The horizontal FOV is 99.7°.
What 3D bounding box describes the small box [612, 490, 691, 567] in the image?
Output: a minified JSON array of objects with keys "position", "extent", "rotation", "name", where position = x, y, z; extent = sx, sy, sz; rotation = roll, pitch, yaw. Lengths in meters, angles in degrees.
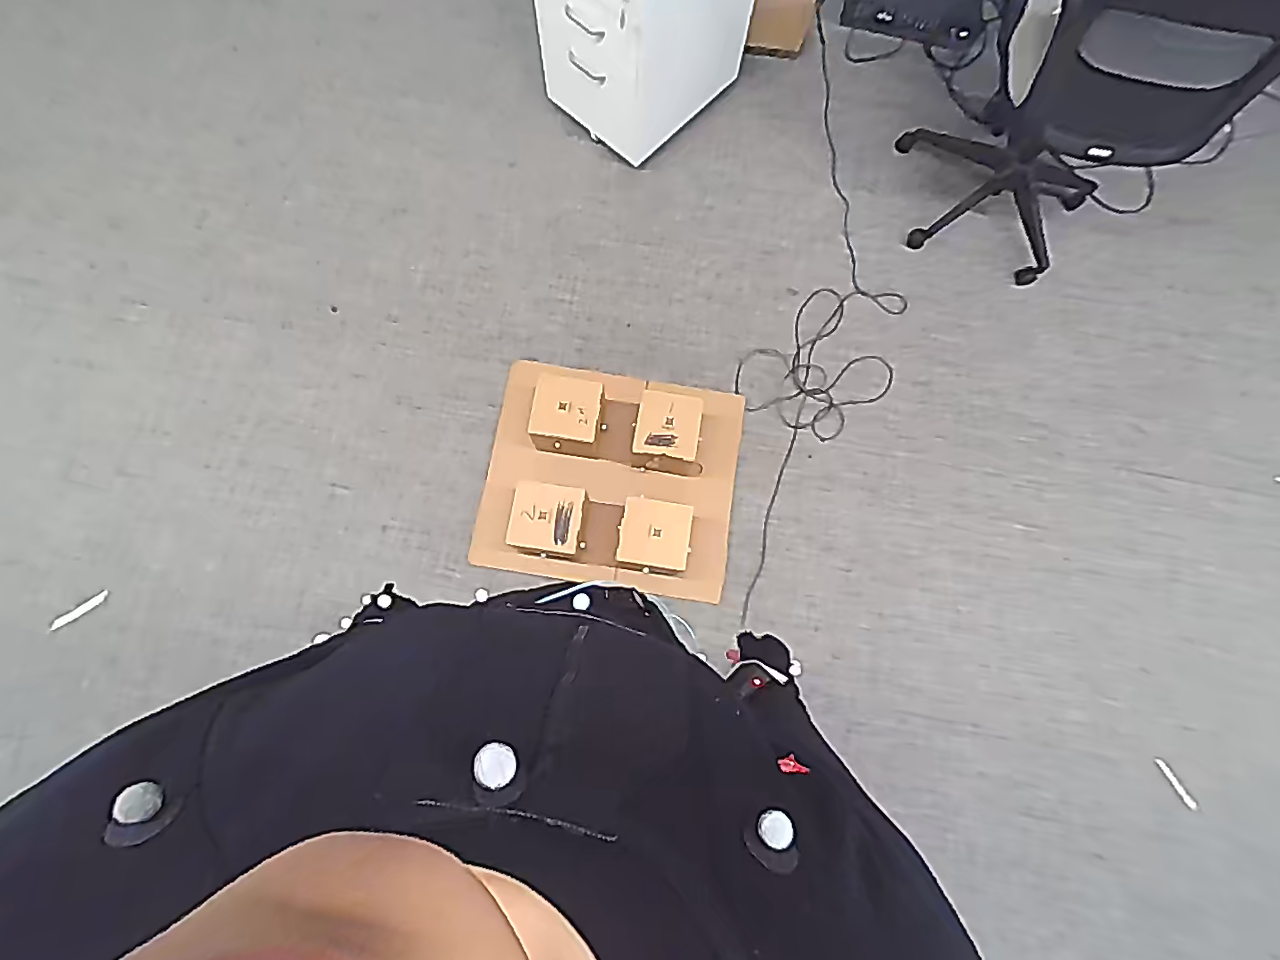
[{"position":[0.029,0.135,1.425],"extent":[0.179,0.176,0.168],"rotation":[10,78,2],"name":"small box"}]
